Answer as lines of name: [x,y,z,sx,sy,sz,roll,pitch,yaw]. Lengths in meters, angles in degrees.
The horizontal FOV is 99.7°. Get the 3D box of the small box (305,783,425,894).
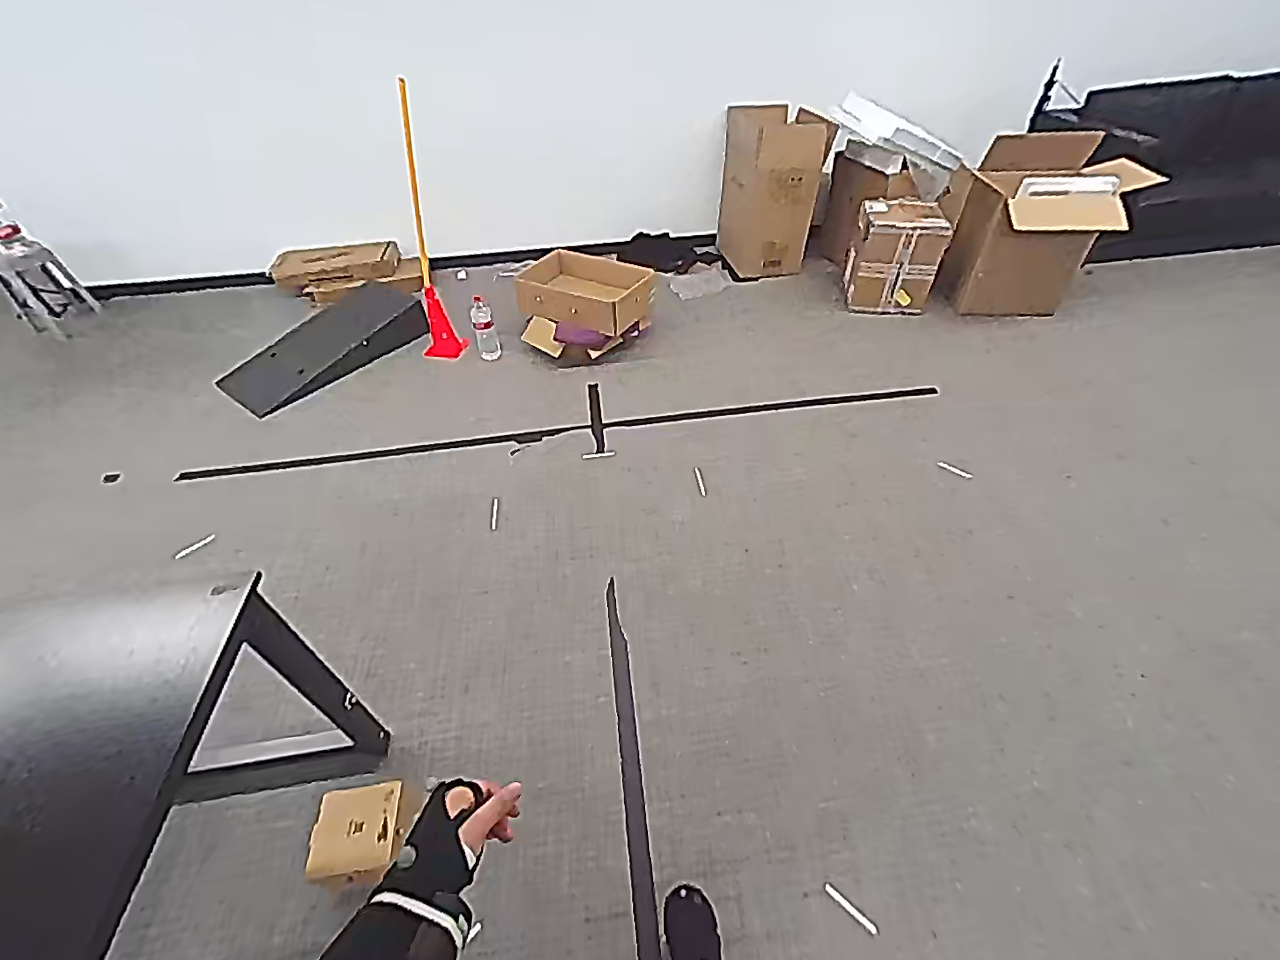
small box: [-0.614,0.818,1.231,0.179,0.176,0.168,-8,45,-4]
